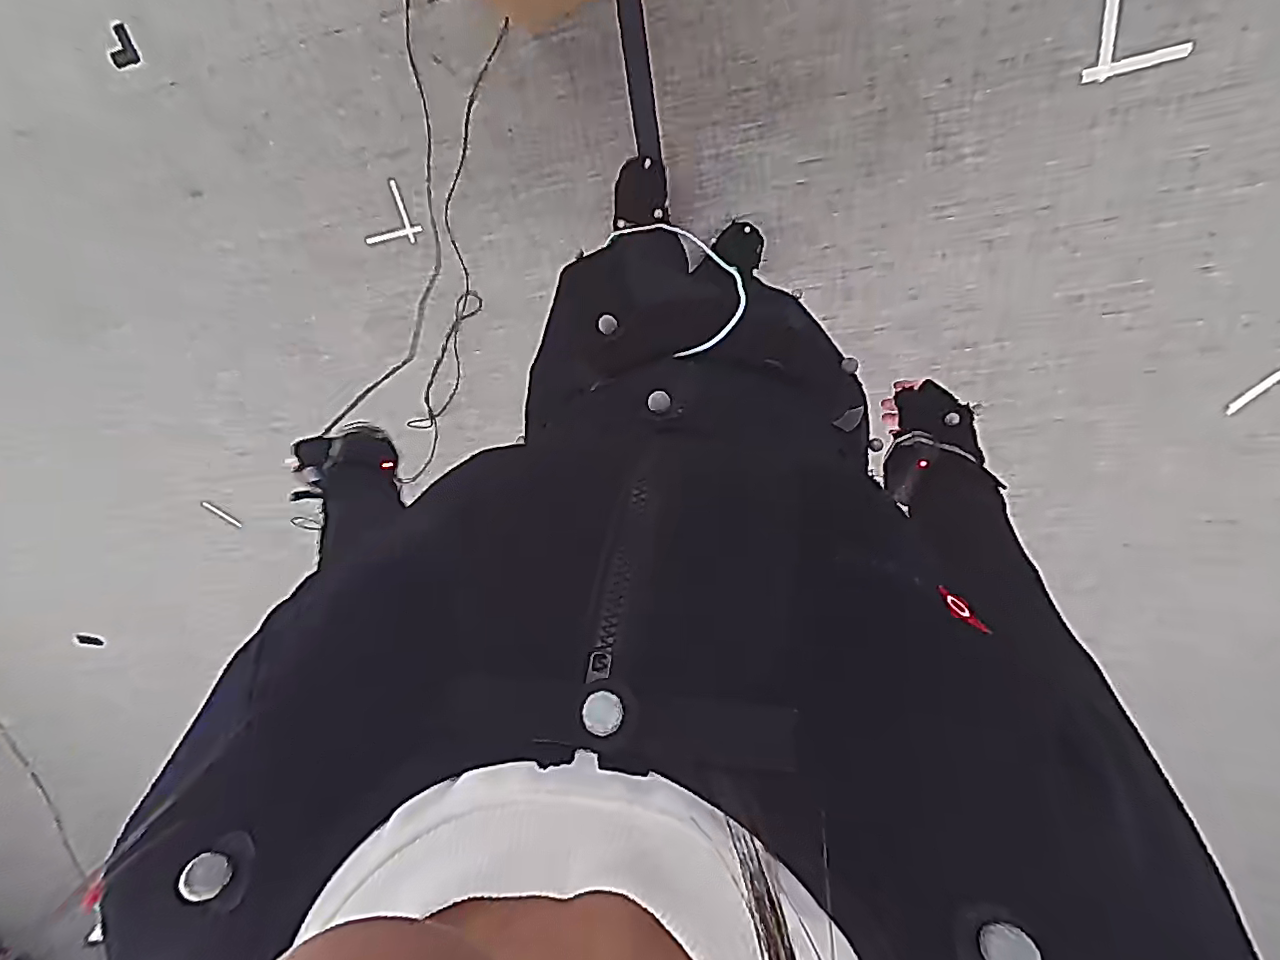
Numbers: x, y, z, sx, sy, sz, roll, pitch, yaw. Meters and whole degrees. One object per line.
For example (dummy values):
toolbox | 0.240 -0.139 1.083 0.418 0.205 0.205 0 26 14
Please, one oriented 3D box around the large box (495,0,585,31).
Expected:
large box | -0.116 -1.014 0.848 0.408 0.320 0.320 -17 116 15
